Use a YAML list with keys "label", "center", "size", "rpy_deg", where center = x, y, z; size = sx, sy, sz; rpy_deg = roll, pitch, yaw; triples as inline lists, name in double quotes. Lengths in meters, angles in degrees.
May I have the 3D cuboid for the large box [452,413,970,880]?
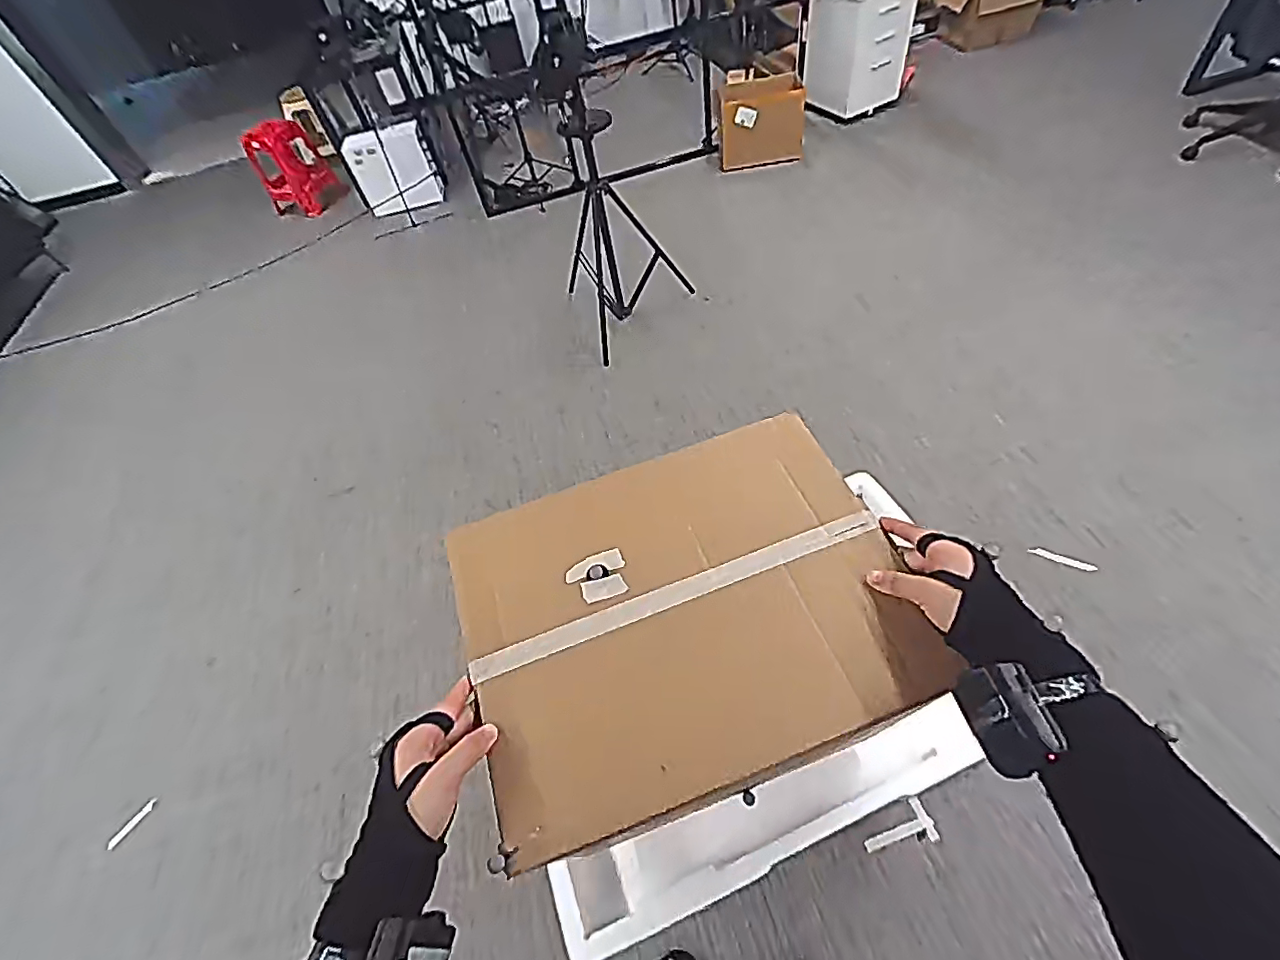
- label: "large box"
  center: [0.058, 0.190, 0.627]
  size: [0.408, 0.320, 0.320]
  rpy_deg: [-21, 56, -6]
